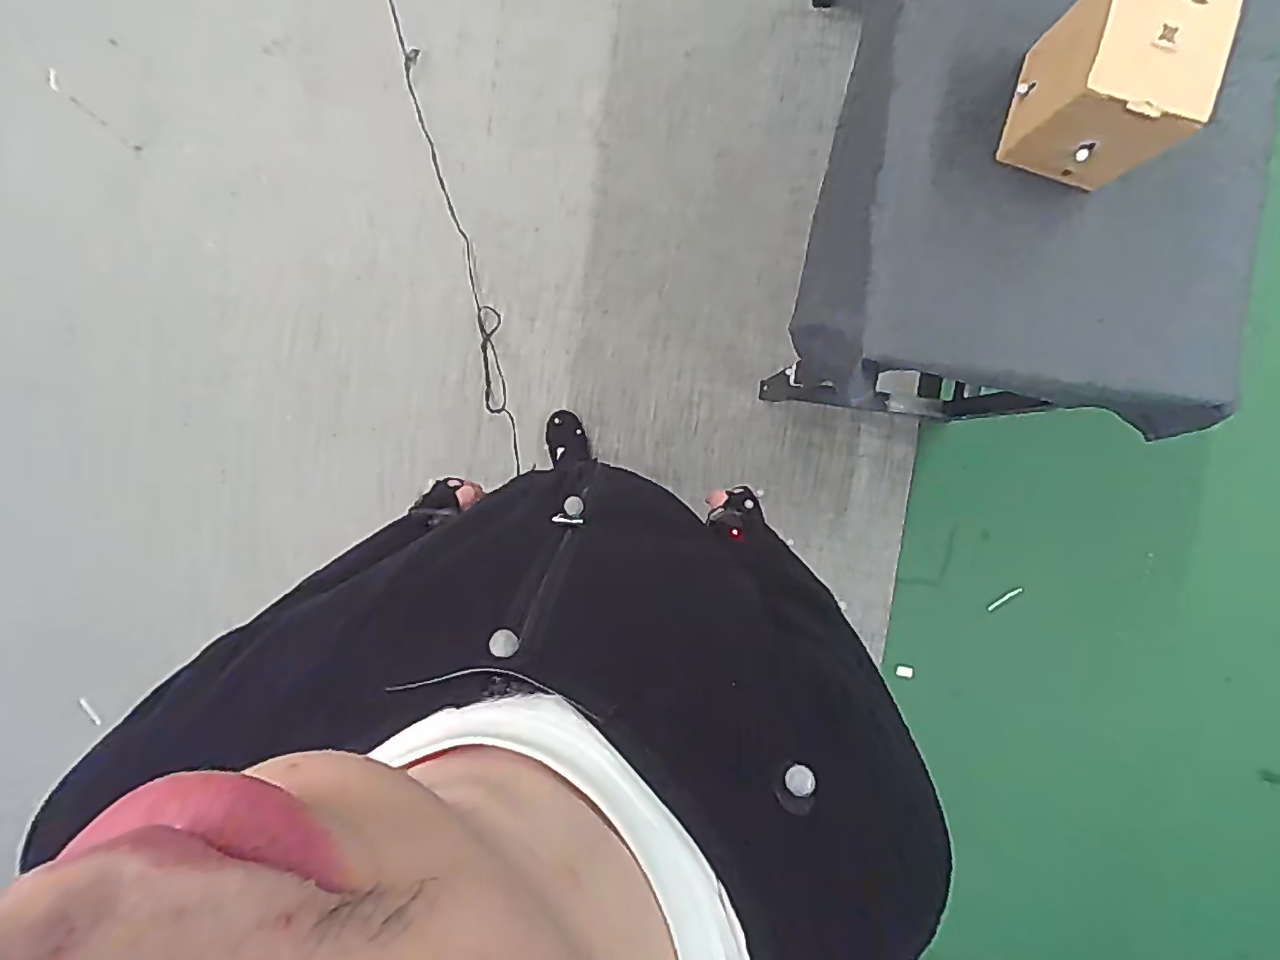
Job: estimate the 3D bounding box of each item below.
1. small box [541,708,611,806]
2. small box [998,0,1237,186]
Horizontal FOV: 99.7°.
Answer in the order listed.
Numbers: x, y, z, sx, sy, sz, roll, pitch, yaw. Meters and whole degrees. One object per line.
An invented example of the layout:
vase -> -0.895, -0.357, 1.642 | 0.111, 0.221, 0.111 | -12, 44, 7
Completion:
small box -> -0.175, 0.774, 1.519 | 0.168, 0.176, 0.179 | 9, 93, -5
small box -> 0.654, -0.554, 0.766 | 0.168, 0.176, 0.179 | 16, 93, -3
